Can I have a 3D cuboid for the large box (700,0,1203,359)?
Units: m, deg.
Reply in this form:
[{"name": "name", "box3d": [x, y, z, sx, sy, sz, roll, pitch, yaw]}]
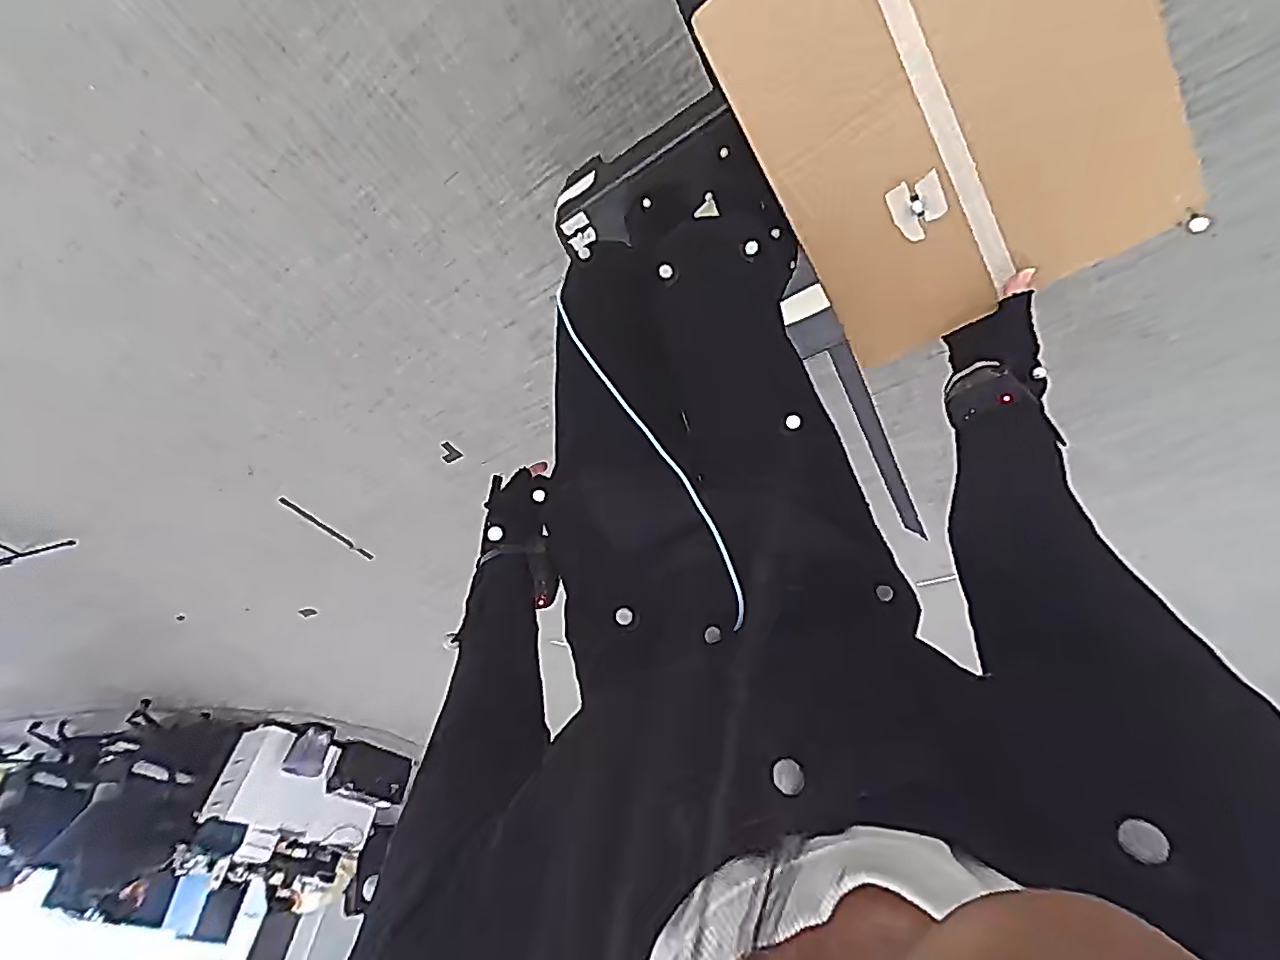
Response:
[{"name": "large box", "box3d": [0.325, -0.425, 0.632, 0.320, 0.320, 0.408, -24, 109, 31]}]
